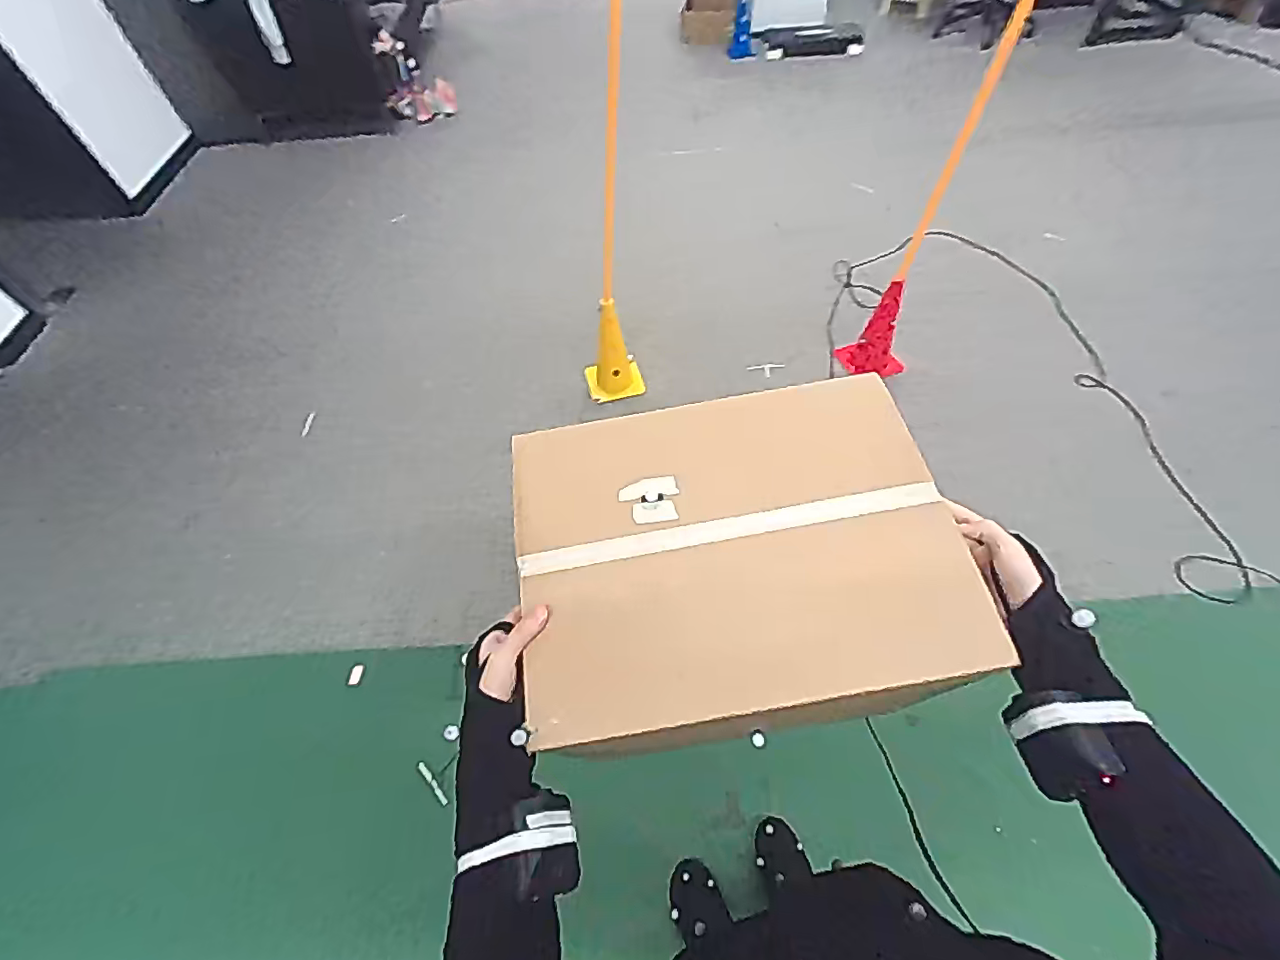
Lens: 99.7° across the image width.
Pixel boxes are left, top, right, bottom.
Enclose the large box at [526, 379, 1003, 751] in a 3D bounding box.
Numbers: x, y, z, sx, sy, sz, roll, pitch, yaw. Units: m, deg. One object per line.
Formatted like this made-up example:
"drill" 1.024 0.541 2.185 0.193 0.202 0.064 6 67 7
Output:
"large box" 0.107 0.125 0.657 0.408 0.320 0.320 -10 60 1
